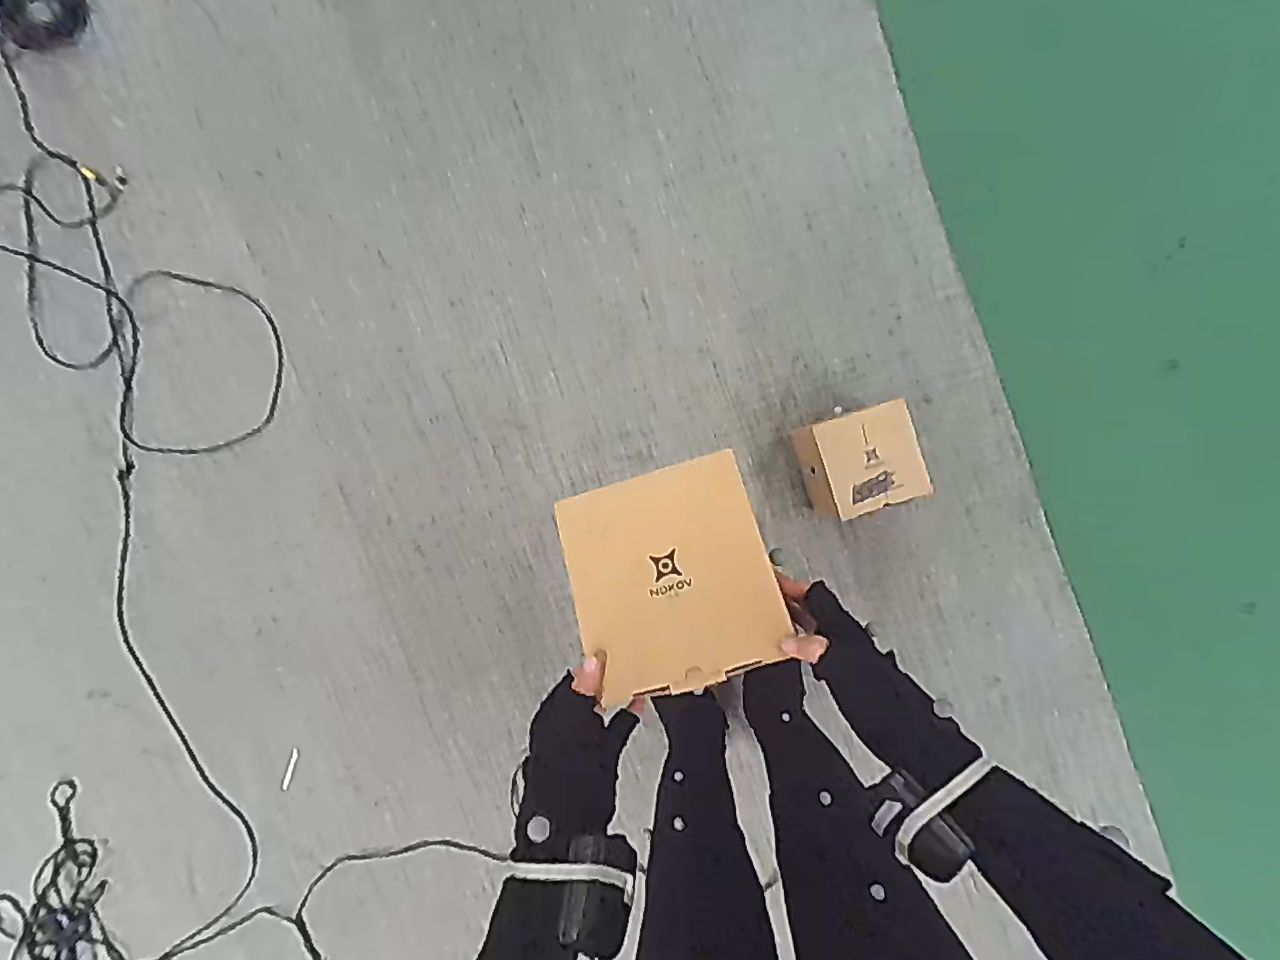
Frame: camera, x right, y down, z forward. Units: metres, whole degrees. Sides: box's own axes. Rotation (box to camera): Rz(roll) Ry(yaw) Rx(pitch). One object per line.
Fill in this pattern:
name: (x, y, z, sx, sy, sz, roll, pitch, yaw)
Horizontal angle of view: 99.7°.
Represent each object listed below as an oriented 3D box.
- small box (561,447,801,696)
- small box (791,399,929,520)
small box: (0.040, 0.095, 0.520, 0.168, 0.176, 0.179, -17, 71, 6)
small box: (0.398, -0.039, 1.004, 0.168, 0.176, 0.179, -18, 91, 3)
